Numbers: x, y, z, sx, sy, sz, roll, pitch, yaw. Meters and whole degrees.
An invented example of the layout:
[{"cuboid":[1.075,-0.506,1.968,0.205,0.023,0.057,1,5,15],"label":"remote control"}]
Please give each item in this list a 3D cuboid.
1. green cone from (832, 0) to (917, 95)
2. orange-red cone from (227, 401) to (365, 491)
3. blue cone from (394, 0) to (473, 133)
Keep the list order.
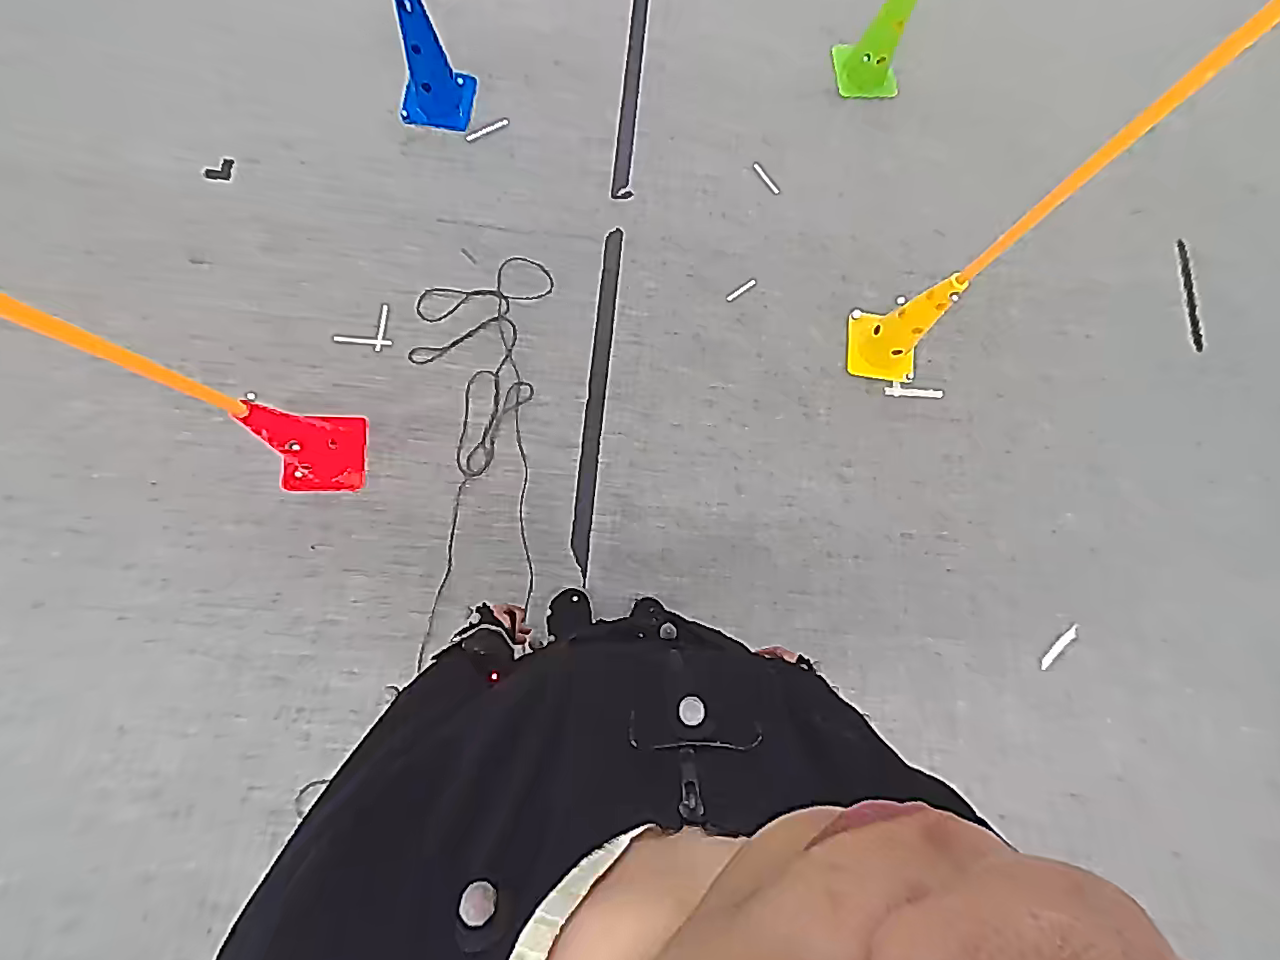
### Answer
[{"cuboid":[0.749,-1.382,1.606,0.200,0.368,0.202,-5,81,-6],"label":"green cone"},{"cuboid":[-0.792,-0.103,1.211,0.199,0.360,0.198,1,79,-6],"label":"orange-red cone"},{"cuboid":[-0.591,-1.167,1.462,0.193,0.380,0.192,8,79,-3],"label":"blue cone"}]
